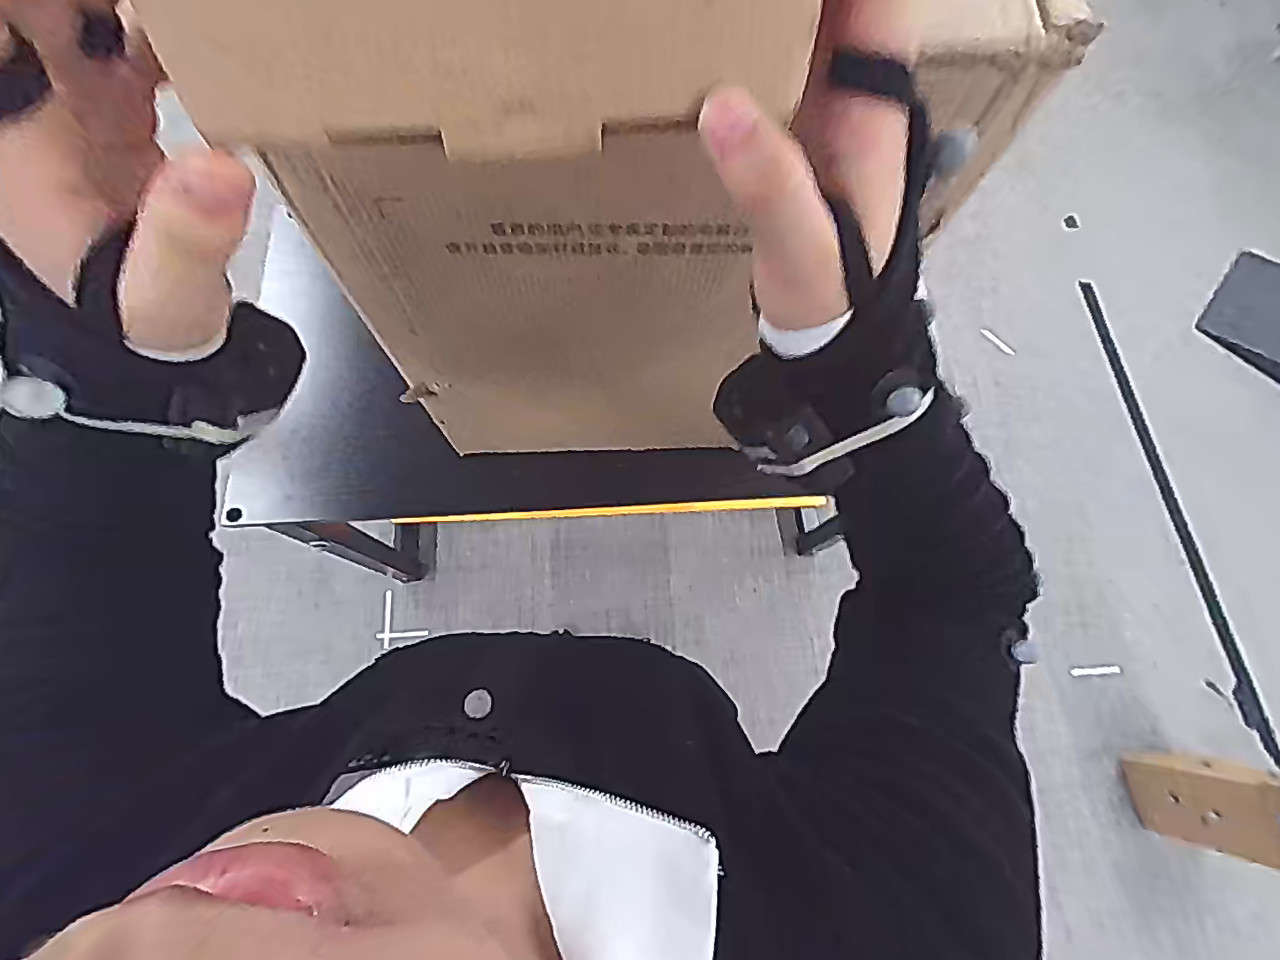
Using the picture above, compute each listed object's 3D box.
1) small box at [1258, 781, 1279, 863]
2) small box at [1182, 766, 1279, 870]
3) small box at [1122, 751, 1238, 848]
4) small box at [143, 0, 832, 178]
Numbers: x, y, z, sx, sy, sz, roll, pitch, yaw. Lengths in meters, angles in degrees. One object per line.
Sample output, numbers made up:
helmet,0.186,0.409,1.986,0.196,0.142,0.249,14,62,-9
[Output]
small box,1.417,0.707,1.071,0.179,0.176,0.168,3,71,-2
small box,1.412,0.758,1.225,0.179,0.176,0.168,-2,72,-4
small box,1.400,0.805,1.382,0.168,0.176,0.179,-6,73,-6
small box,-0.044,-0.207,0.152,0.168,0.179,0.176,-8,44,-7
